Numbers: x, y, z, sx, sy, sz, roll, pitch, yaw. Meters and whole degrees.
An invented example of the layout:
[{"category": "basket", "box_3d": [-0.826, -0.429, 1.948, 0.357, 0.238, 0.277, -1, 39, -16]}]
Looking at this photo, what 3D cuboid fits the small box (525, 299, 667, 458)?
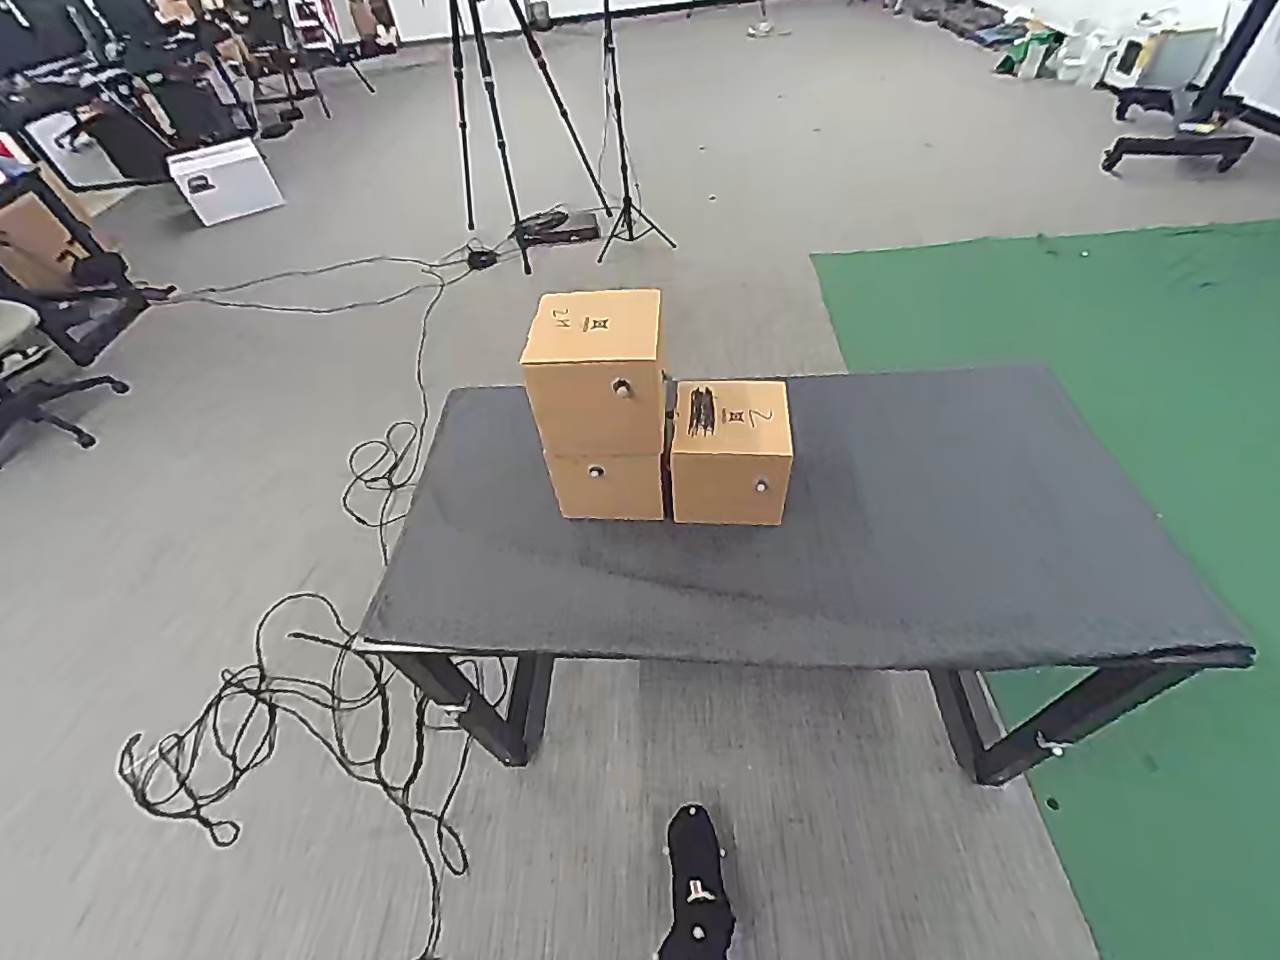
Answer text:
[{"category": "small box", "box_3d": [-0.050, -0.145, 0.792, 0.179, 0.176, 0.168, 0, 48, 6]}]
